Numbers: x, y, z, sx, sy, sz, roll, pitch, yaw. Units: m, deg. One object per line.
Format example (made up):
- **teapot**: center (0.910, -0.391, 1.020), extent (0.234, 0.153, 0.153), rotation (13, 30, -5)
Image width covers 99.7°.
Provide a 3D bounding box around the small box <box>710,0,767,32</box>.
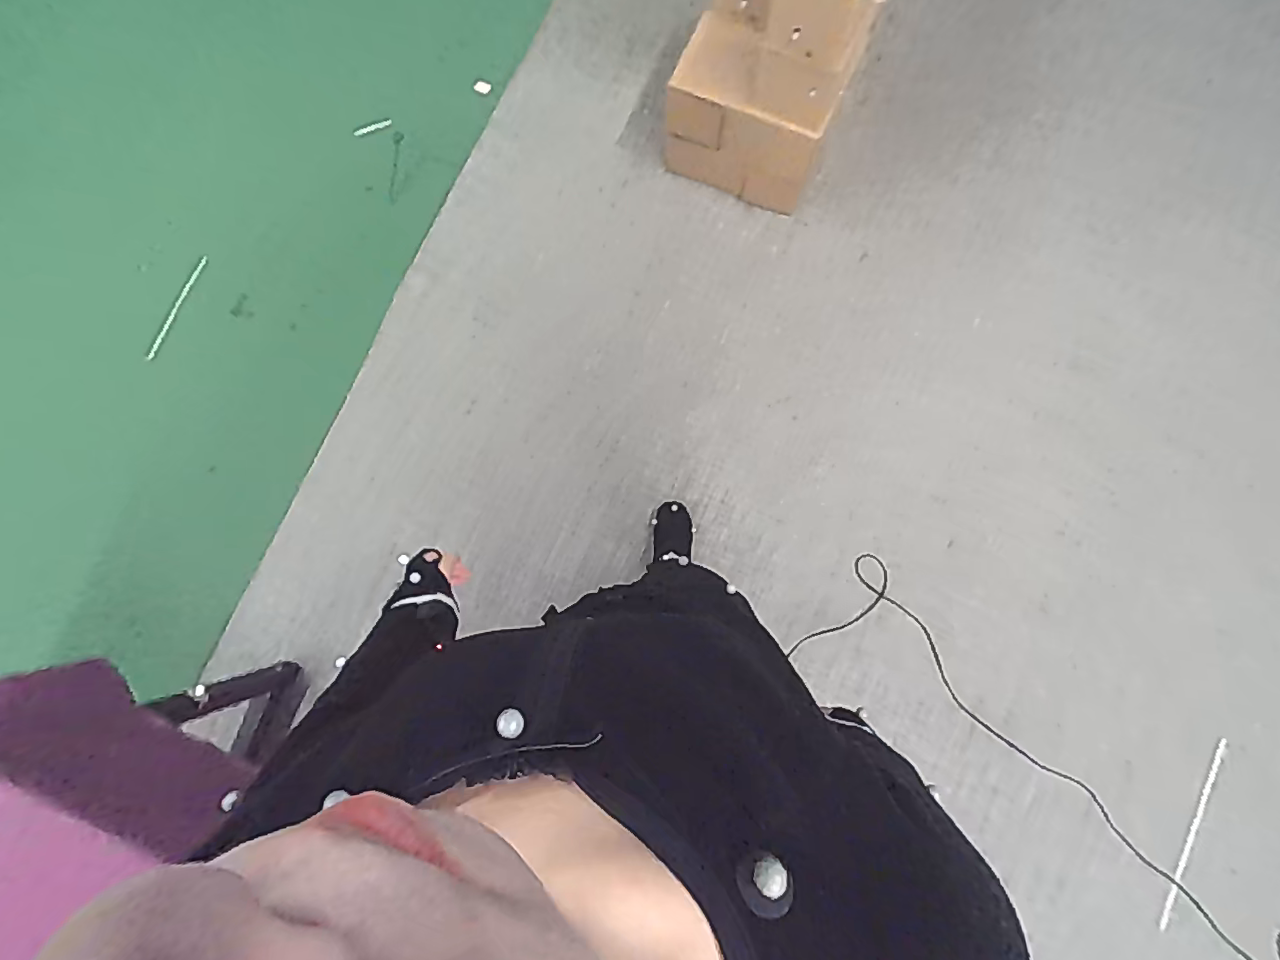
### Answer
- **small box**: center (0.273, -1.227, 1.280), extent (0.168, 0.176, 0.179), rotation (24, 81, 8)
